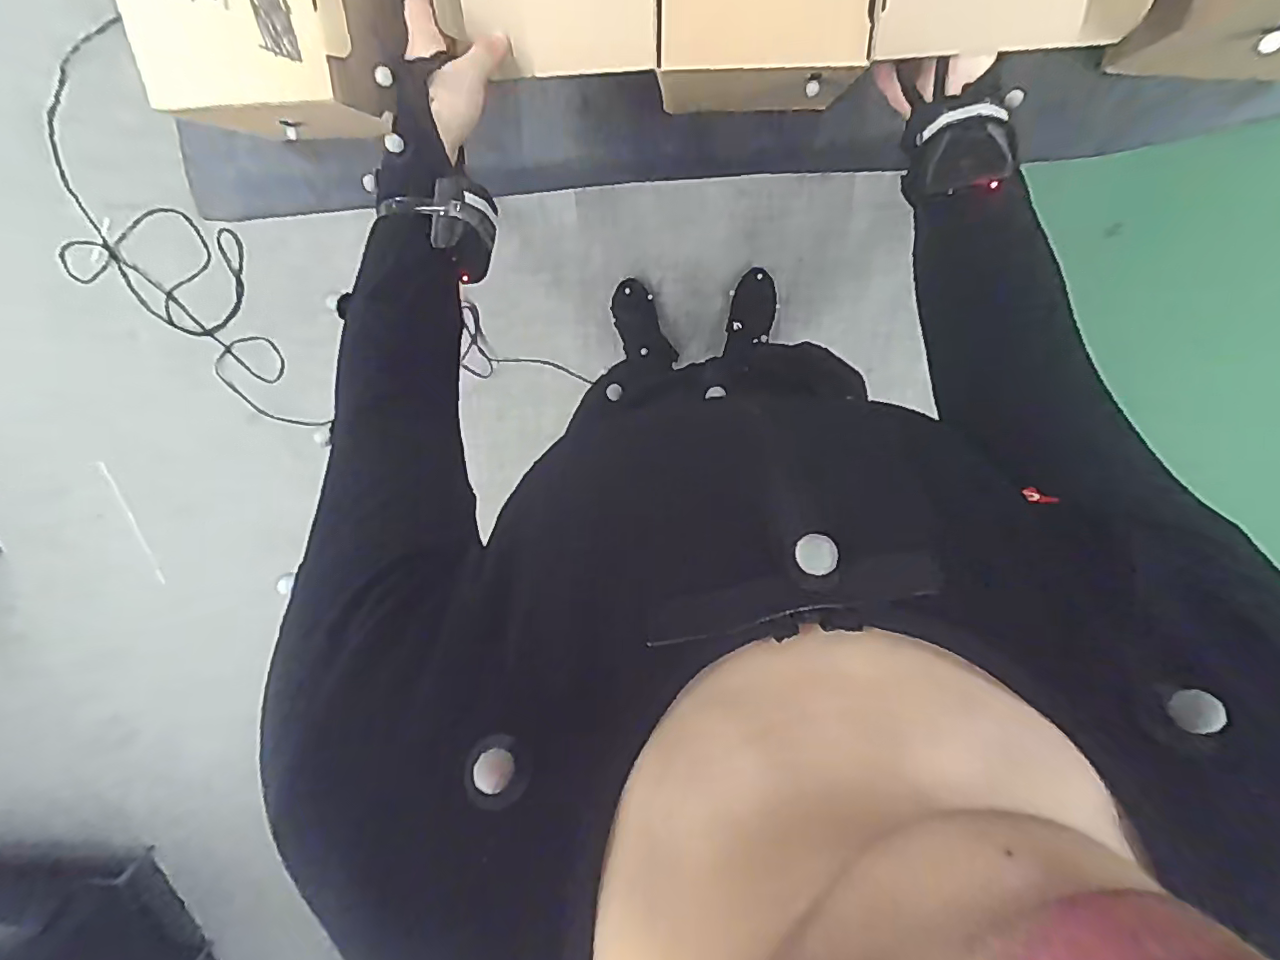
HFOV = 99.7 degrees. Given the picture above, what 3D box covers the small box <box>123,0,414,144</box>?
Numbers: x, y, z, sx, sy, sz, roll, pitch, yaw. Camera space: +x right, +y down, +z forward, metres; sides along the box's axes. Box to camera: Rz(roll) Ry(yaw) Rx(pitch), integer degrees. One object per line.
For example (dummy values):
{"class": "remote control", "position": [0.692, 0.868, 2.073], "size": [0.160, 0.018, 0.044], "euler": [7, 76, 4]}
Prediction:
{"class": "small box", "position": [-0.337, -0.429, 0.516], "size": [0.179, 0.176, 0.168], "euler": [1, 114, 6]}
